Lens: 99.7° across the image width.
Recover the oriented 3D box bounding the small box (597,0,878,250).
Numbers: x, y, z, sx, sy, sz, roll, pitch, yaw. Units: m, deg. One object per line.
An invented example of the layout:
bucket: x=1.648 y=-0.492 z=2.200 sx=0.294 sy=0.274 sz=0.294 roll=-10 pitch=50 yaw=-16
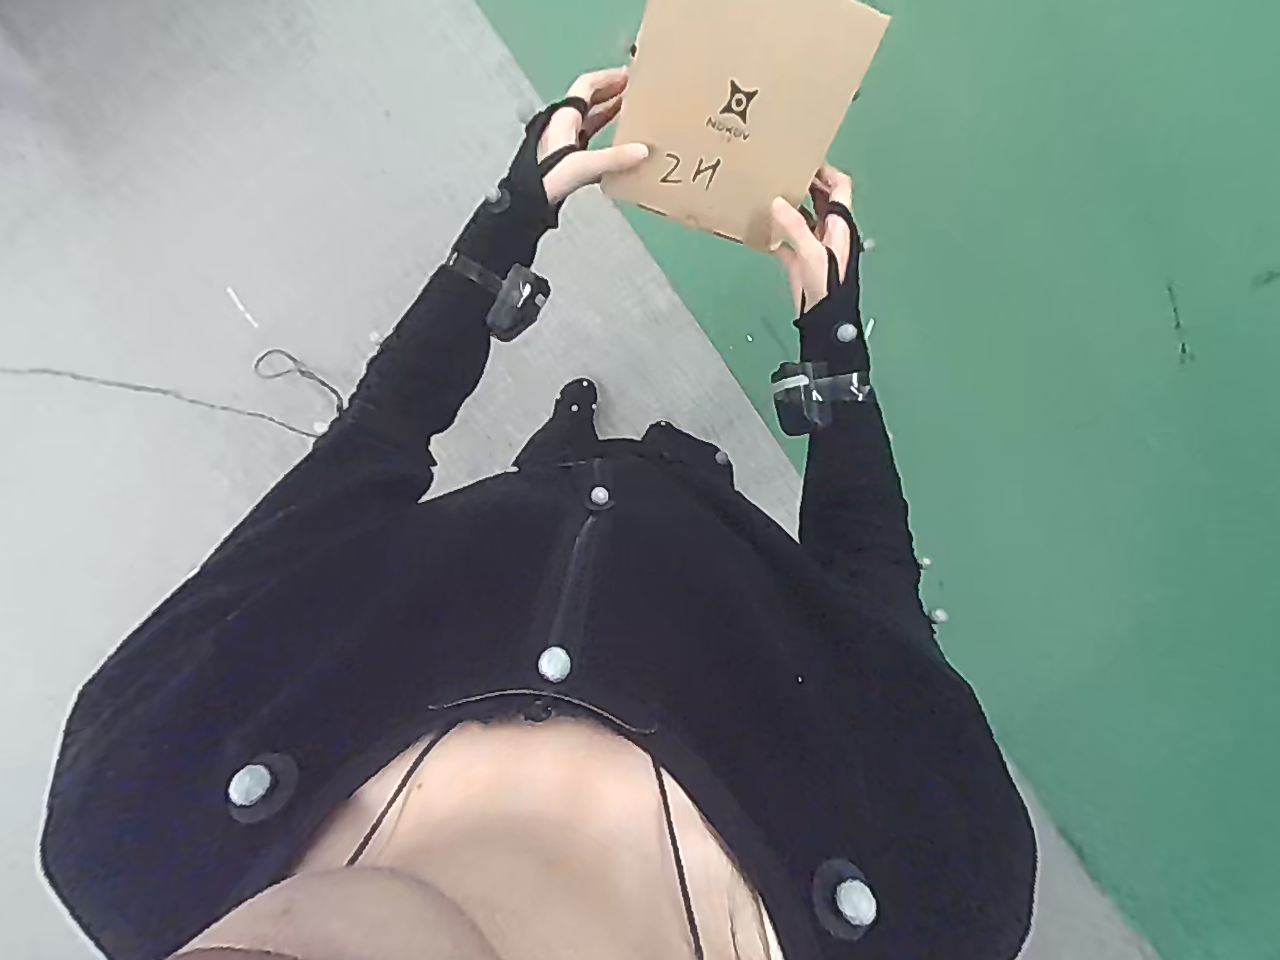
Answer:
small box: x=0.065 y=-0.340 z=0.474 sx=0.168 sy=0.176 sz=0.179 roll=14 pitch=131 yaw=-12
